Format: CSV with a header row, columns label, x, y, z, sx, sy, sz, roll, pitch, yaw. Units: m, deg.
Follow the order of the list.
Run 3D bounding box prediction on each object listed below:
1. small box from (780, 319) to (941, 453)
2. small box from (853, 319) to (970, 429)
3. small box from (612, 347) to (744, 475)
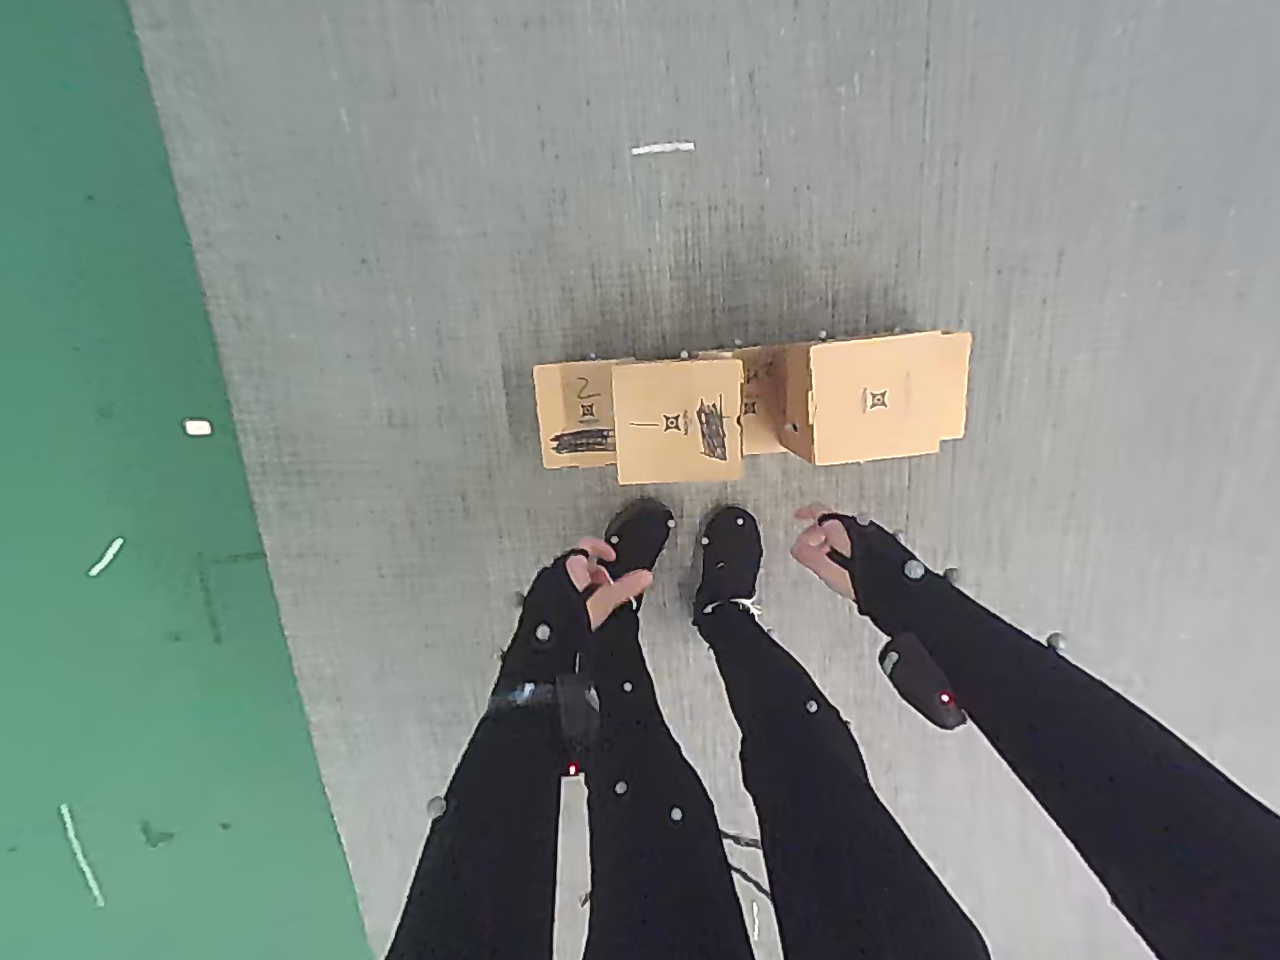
label,x,y,z,sx,sy,sz,roll,pitch,yaw
small box,0.311,-0.141,0.797,0.179,0.176,0.168,-7,105,0
small box,0.447,-0.186,0.954,0.168,0.176,0.179,-4,104,2
small box,0.053,-0.109,0.806,0.179,0.176,0.168,-2,104,2
